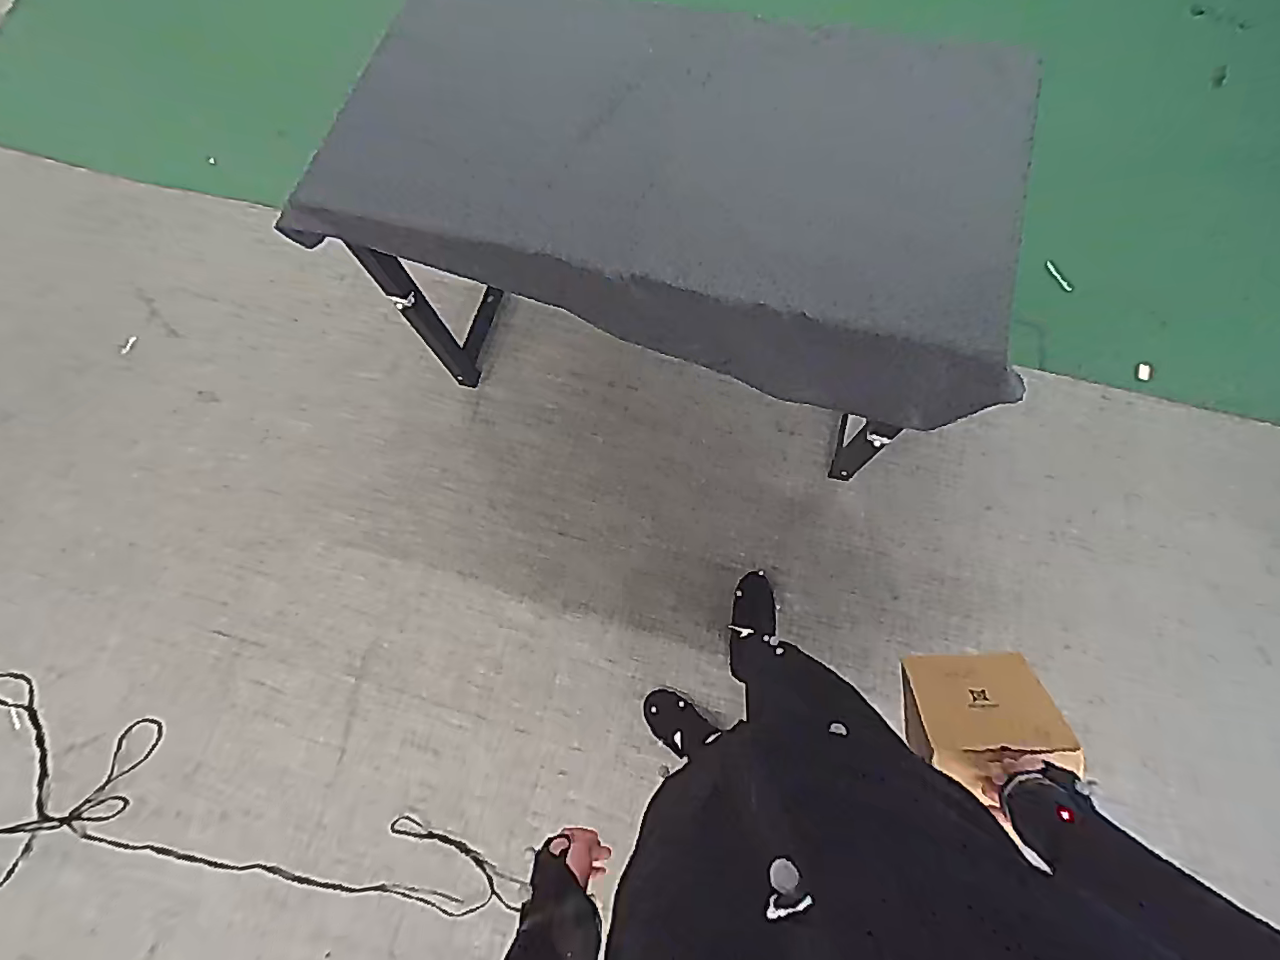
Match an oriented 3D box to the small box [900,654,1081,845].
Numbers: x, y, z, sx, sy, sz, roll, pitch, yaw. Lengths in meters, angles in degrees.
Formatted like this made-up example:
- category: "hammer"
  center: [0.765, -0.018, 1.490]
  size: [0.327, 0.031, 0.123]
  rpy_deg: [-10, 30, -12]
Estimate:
- category: "small box"
  center: [0.473, 0.369, 0.751]
  size: [0.168, 0.179, 0.176]
  rpy_deg: [-7, 110, 15]
